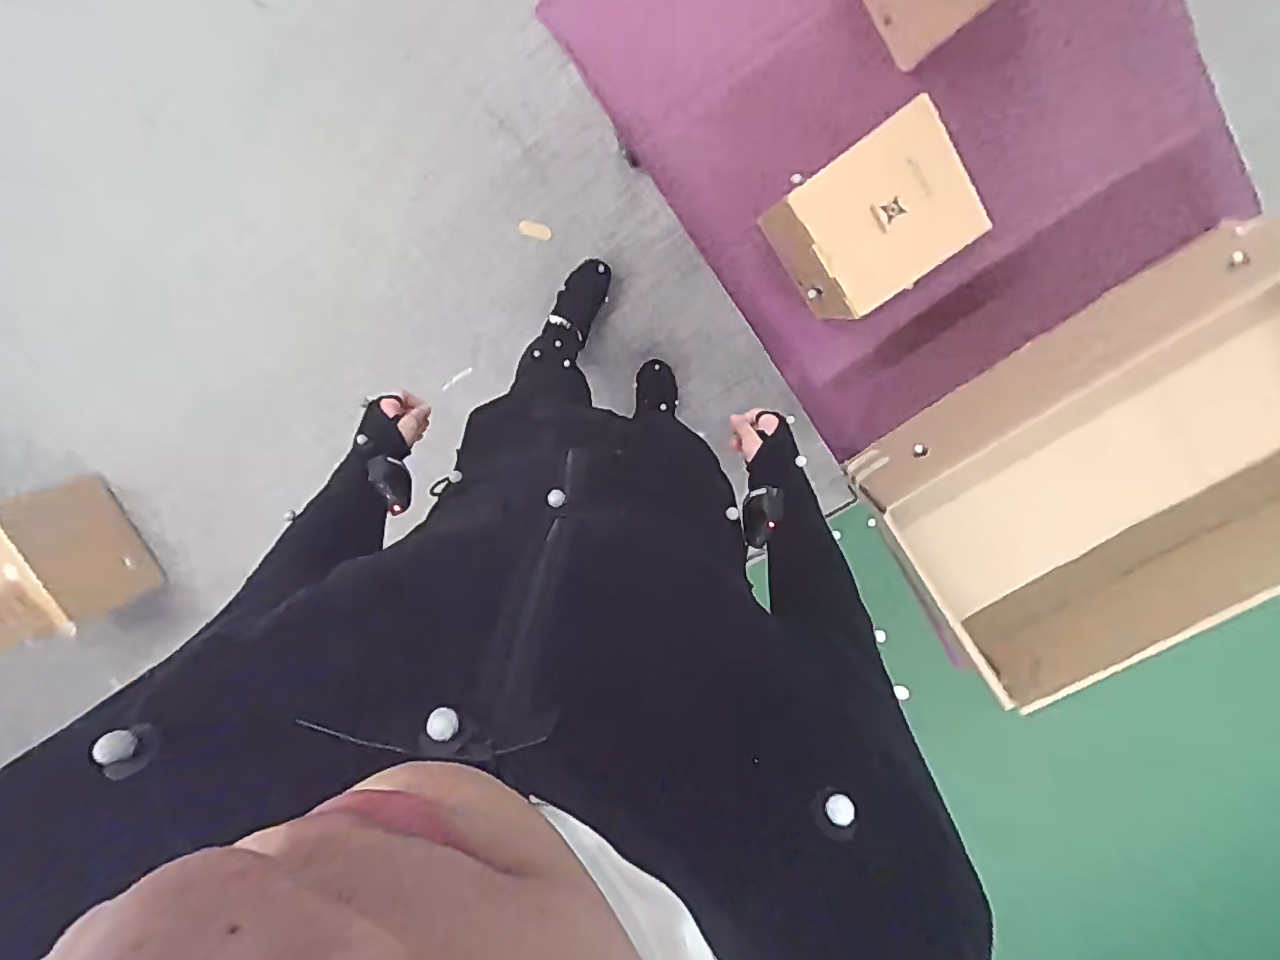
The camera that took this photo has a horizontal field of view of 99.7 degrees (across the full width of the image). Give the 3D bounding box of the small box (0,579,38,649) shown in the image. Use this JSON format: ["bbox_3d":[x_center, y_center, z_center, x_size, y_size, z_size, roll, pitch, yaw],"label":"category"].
[{"bbox_3d":[-1.759,0.385,1.413,0.179,0.176,0.168,-23,105,7],"label":"small box"}]

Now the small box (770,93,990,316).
[{"bbox_3d":[0.281,-0.325,0.682,0.179,0.176,0.168,-34,104,10],"label":"small box"}]

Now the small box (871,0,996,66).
[{"bbox_3d":[0.357,-0.612,0.589,0.179,0.176,0.168,-36,103,11],"label":"small box"}]
